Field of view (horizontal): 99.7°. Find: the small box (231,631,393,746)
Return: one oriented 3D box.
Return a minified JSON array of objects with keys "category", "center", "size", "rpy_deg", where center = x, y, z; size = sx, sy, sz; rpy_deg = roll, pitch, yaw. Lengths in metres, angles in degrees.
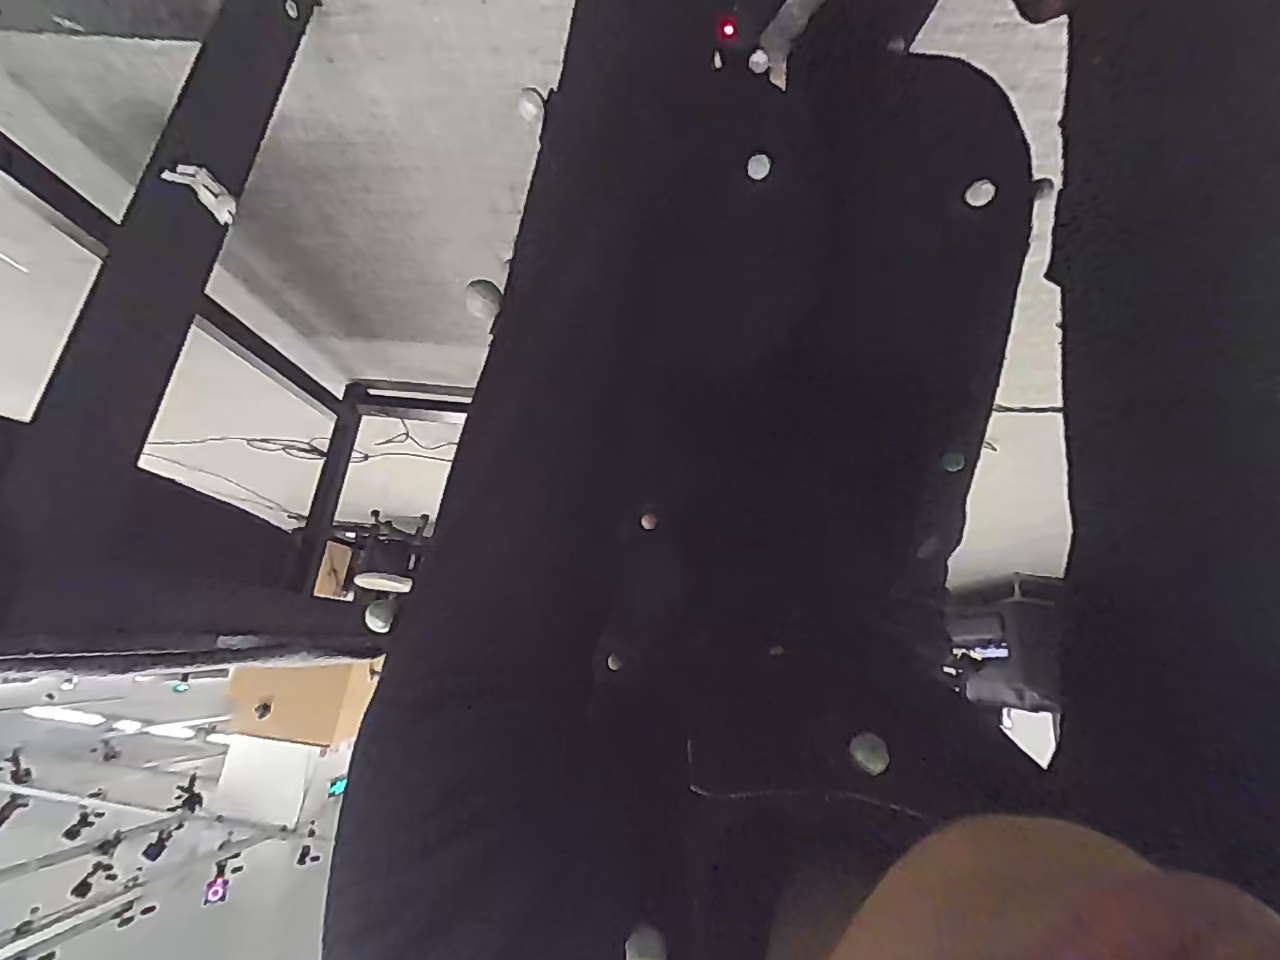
[{"category":"small box","center":[-0.586,0.372,0.991],"size":[0.179,0.176,0.168],"rpy_deg":[7,164,1]}]
